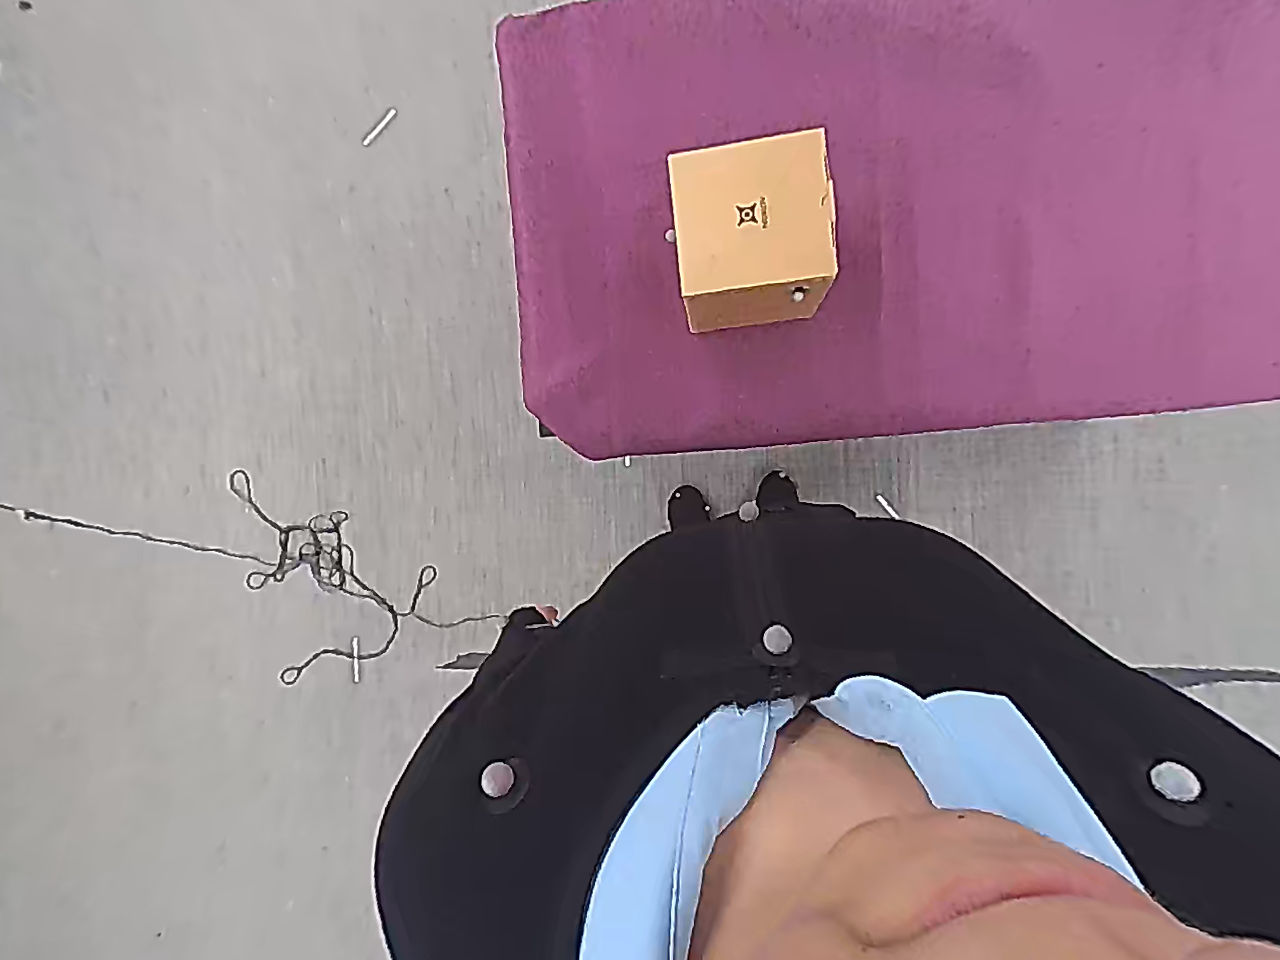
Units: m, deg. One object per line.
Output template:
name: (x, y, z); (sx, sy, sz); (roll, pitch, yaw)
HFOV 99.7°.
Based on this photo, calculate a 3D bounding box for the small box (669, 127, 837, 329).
small box: (0.137, -0.302, 0.688); (0.179, 0.176, 0.168); (-6, 90, 7)
